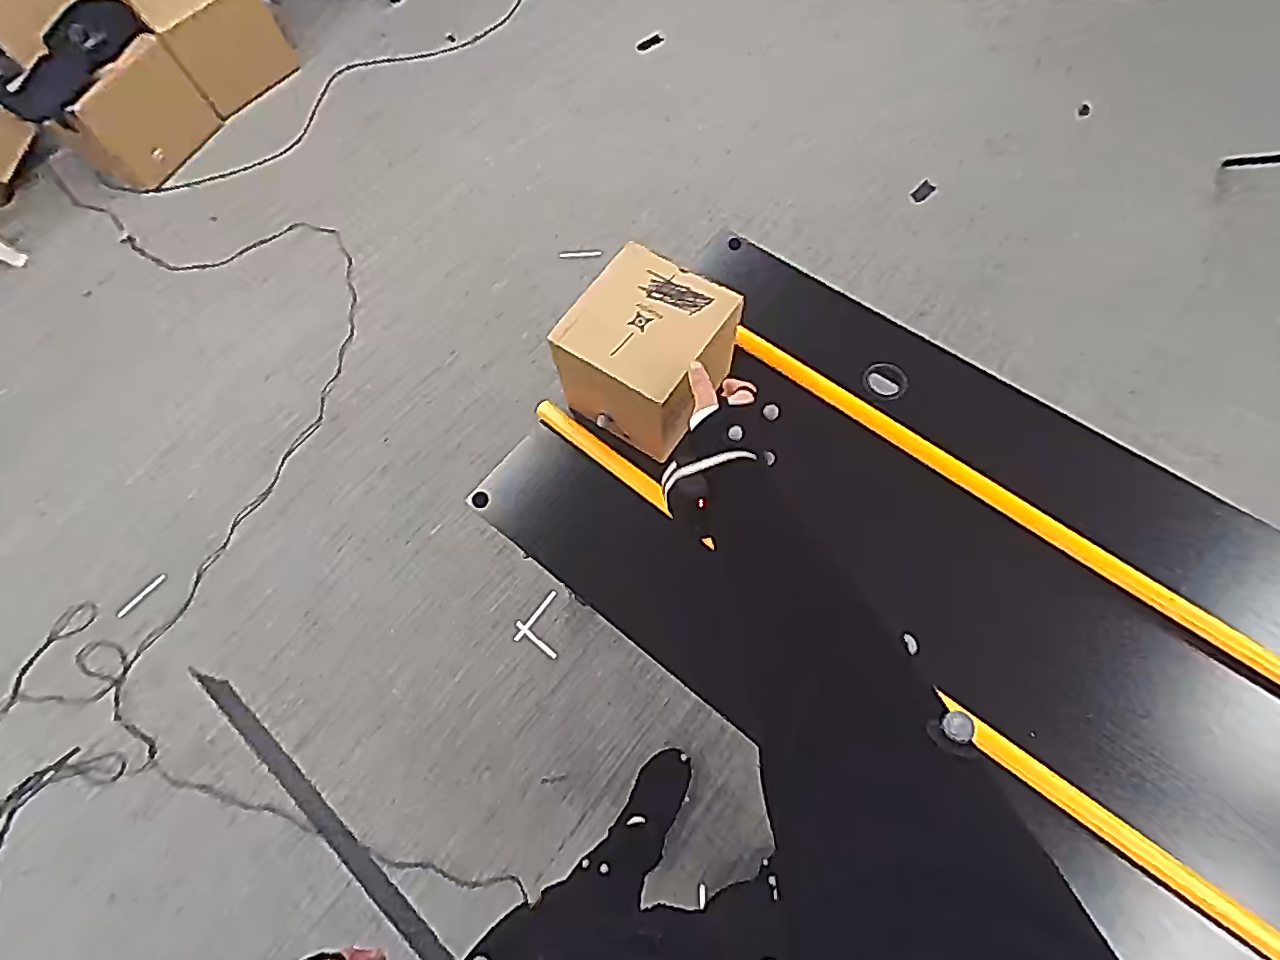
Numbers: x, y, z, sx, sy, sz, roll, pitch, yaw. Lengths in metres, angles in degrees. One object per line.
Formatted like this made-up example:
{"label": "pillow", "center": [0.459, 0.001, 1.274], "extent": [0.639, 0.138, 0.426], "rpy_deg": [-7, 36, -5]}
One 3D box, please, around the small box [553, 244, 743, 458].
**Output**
{"label": "small box", "center": [0.012, -0.161, 0.711], "extent": [0.168, 0.176, 0.179], "rpy_deg": [32, 74, 14]}
